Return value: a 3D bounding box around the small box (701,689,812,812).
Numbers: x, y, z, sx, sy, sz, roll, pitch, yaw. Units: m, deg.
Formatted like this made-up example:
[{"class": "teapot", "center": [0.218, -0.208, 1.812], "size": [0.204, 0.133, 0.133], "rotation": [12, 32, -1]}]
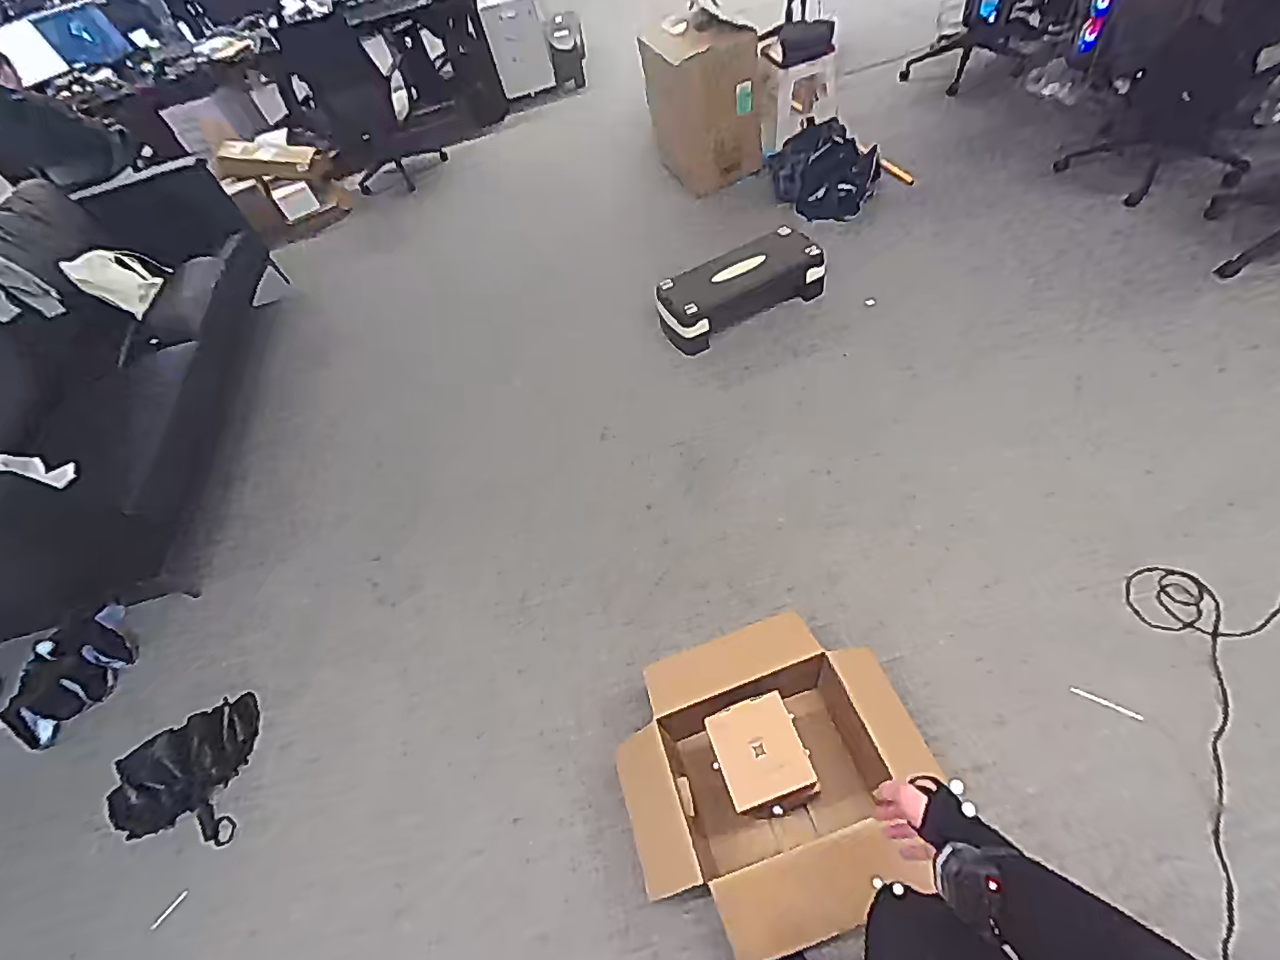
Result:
[{"class": "small box", "center": [0.239, 0.565, 1.123], "size": [0.168, 0.176, 0.179], "rotation": [-21, 54, 0]}]
